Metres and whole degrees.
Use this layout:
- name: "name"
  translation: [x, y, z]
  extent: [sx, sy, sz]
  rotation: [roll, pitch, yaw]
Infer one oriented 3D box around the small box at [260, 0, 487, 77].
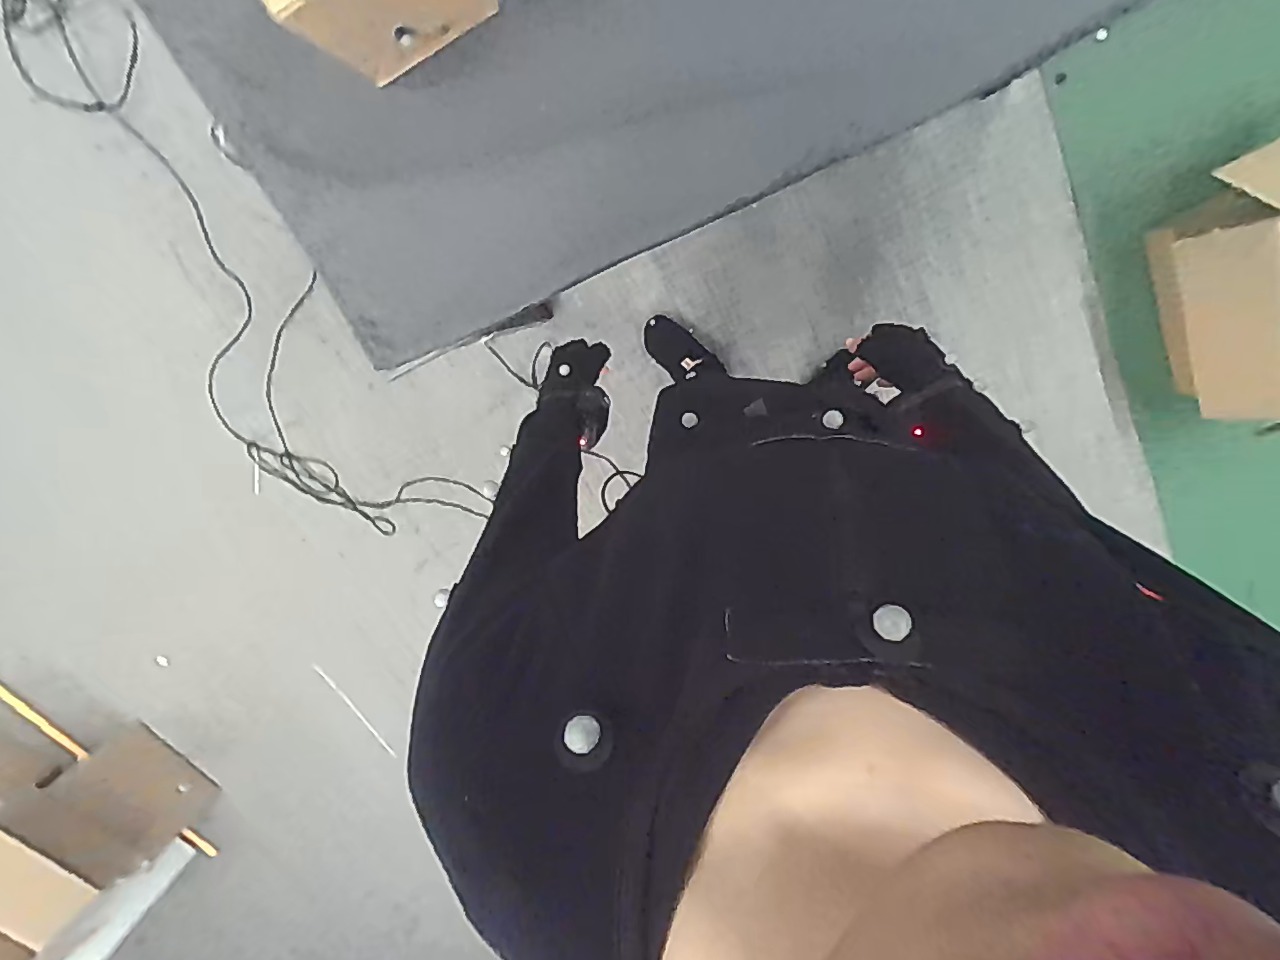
- name: "small box"
  translation: [-0.271, -0.525, 0.494]
  extent: [0.168, 0.176, 0.179]
  rotation: [-23, 107, 12]
